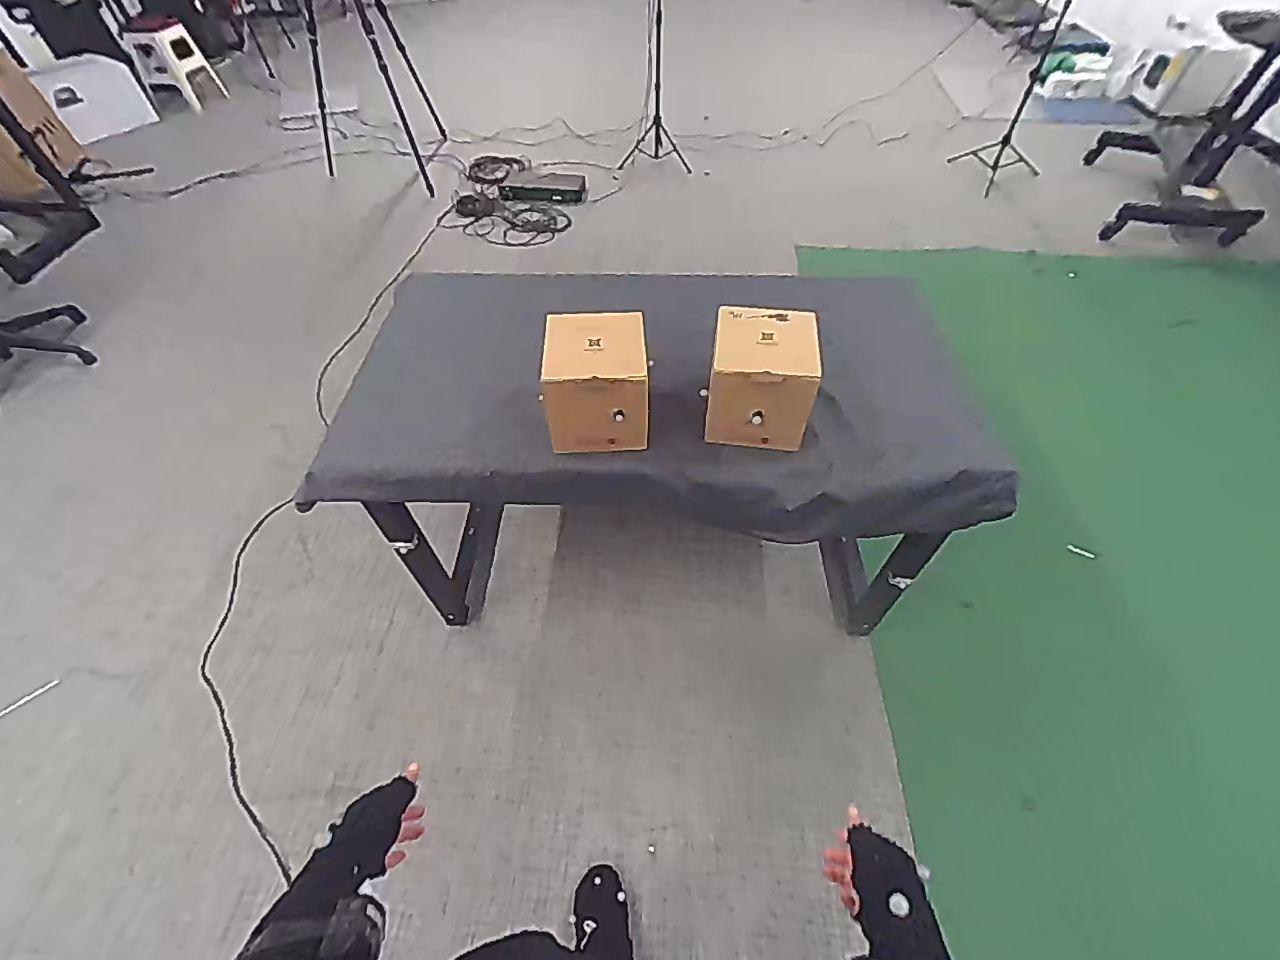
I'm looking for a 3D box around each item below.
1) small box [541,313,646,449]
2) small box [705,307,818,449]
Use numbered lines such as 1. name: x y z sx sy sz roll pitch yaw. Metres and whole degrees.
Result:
1. small box: -0.075 -0.166 0.935 0.168 0.176 0.179 -2 50 -3
2. small box: 0.205 -0.174 0.940 0.168 0.176 0.179 6 52 5
